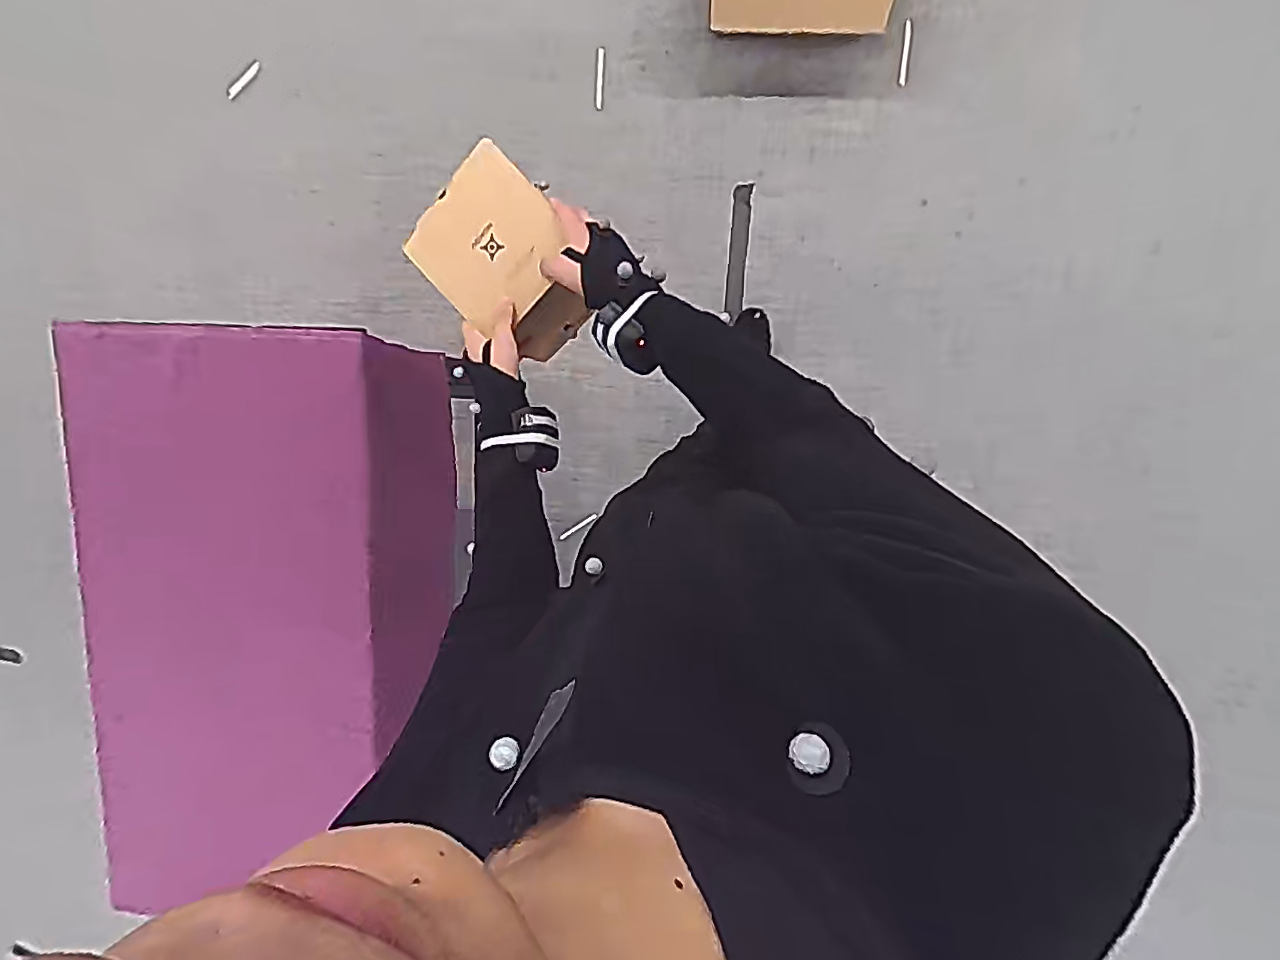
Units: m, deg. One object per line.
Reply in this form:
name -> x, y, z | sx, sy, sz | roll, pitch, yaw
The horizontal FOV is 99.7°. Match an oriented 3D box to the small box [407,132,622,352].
small box -> -0.150, -0.287, 0.700 | 0.168, 0.176, 0.179 | -43, 86, 14
